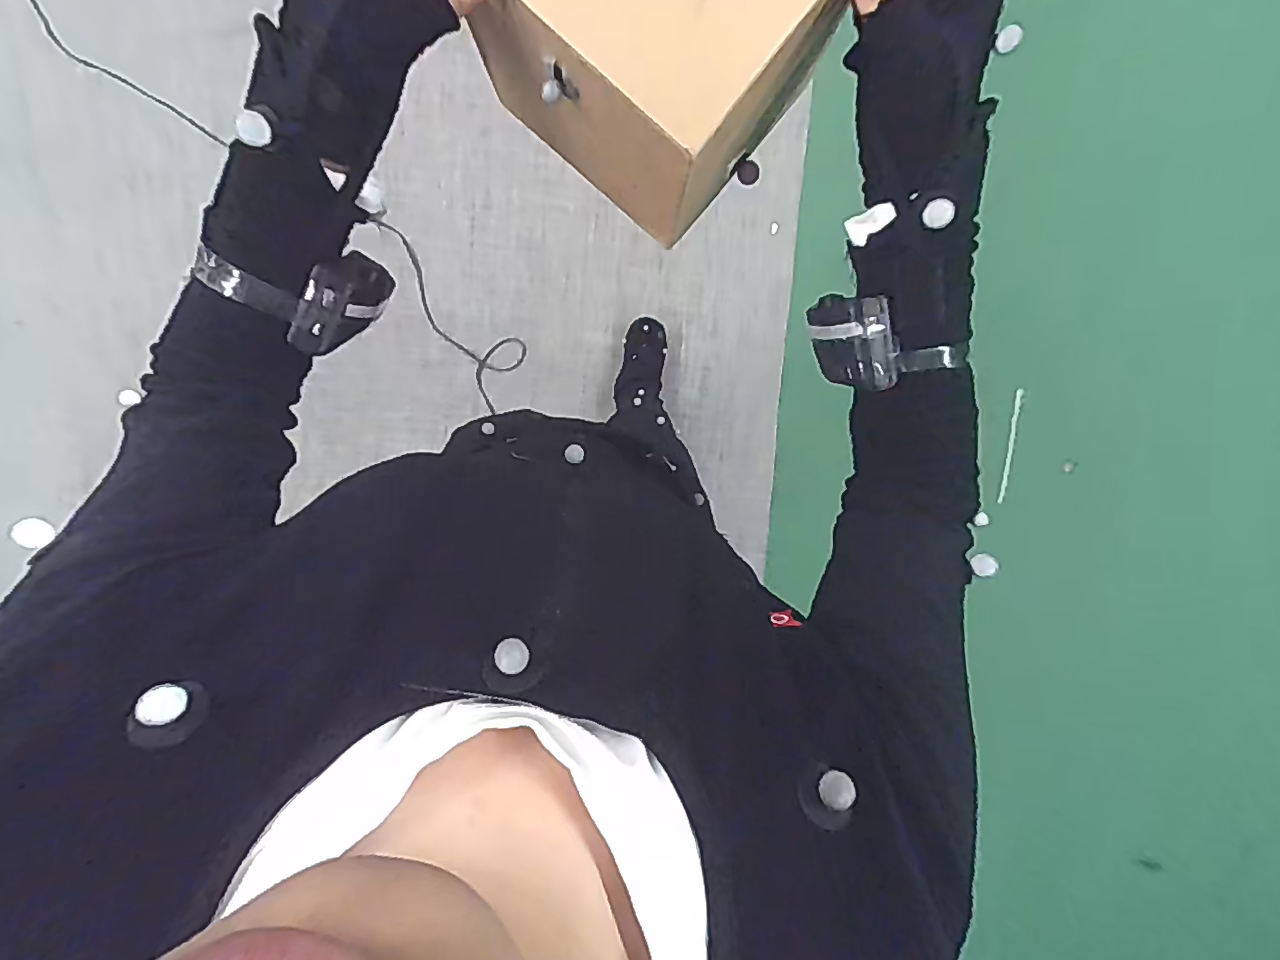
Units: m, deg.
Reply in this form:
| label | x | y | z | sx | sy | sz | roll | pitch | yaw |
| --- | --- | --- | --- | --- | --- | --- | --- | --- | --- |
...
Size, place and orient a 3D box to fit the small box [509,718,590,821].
| label | x | y | z | sx | sy | sz | roll | pitch | yaw |
| --- | --- | --- | --- | --- | --- | --- | --- | --- | --- |
| small box | -0.226 | 0.738 | 1.392 | 0.179 | 0.176 | 0.168 | -5 | 98 | -1 |

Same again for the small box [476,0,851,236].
| label | x | y | z | sx | sy | sz | roll | pitch | yaw |
| --- | --- | --- | --- | --- | --- | --- | --- | --- | --- |
| small box | 0.012 | -0.290 | 0.338 | 0.179 | 0.176 | 0.168 | 40 | 96 | -5 |
